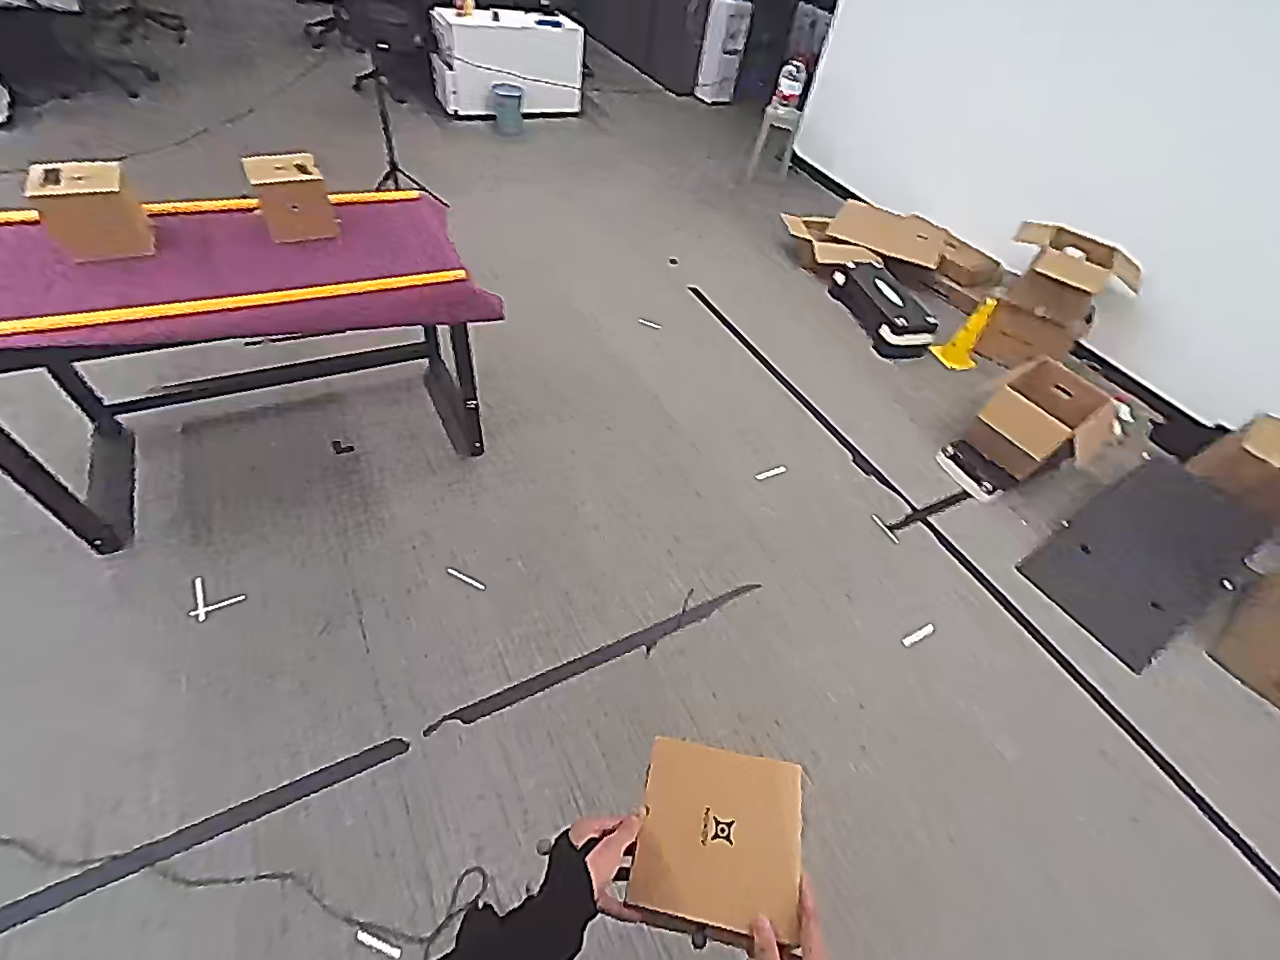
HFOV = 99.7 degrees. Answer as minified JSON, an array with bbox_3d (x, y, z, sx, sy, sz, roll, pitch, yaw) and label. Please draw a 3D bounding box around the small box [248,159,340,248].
[{"bbox_3d":[-0.987,-0.796,1.559,0.179,0.176,0.168,-21,58,-24],"label":"small box"}]
